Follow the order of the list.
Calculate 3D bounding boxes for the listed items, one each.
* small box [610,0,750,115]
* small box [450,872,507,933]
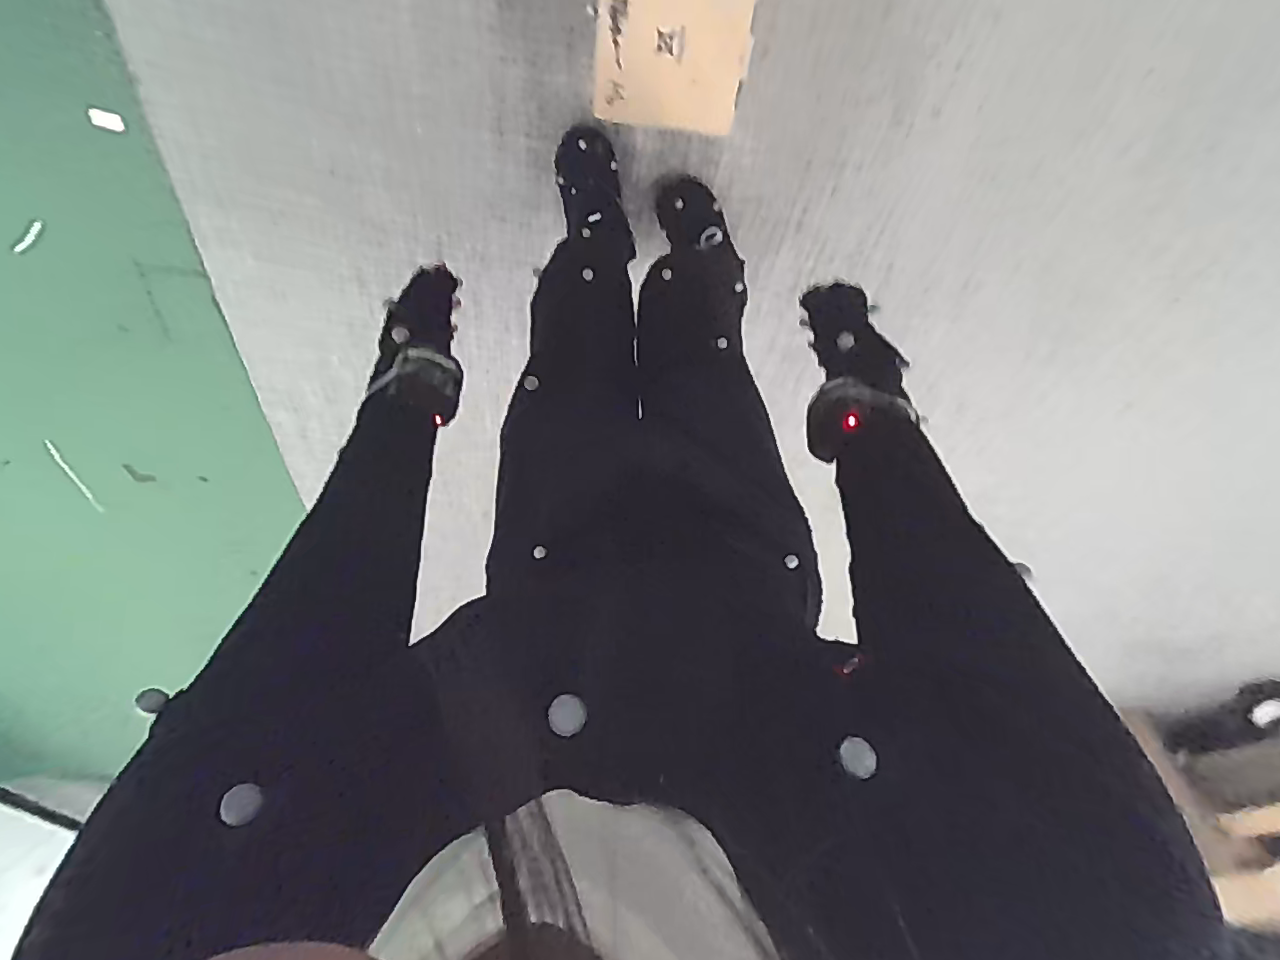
[{"bbox_3d":[0.057,-0.667,0.799,0.179,0.176,0.168,8,134,-3],"label":"small box"},{"bbox_3d":[-0.634,1.658,2.123,0.179,0.176,0.168,11,137,-7],"label":"small box"}]
